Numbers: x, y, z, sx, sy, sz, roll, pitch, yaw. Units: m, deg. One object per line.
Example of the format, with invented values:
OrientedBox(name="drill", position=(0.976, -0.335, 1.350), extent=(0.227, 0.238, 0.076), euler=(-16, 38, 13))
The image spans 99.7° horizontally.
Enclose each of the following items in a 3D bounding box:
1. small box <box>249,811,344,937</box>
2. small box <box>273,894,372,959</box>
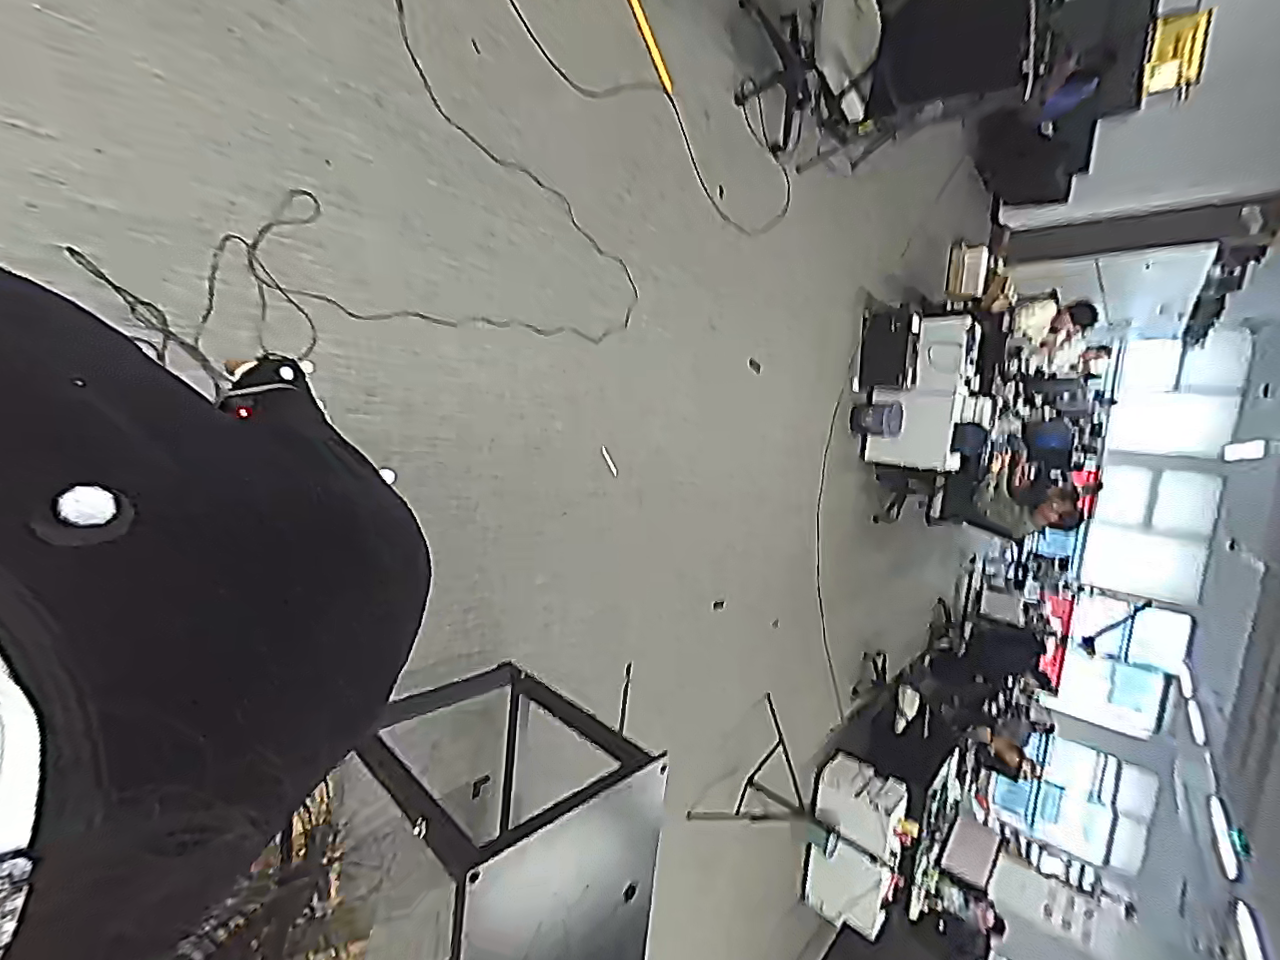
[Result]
OrientedBox(name="small box", position=(-0.905, 1.020, 1.422), extent=(0.179, 0.176, 0.168), euler=(-3, 100, -46))
OrientedBox(name="small box", position=(-0.889, 1.310, 1.504), extent=(0.168, 0.176, 0.179), euler=(30, 75, -48))
